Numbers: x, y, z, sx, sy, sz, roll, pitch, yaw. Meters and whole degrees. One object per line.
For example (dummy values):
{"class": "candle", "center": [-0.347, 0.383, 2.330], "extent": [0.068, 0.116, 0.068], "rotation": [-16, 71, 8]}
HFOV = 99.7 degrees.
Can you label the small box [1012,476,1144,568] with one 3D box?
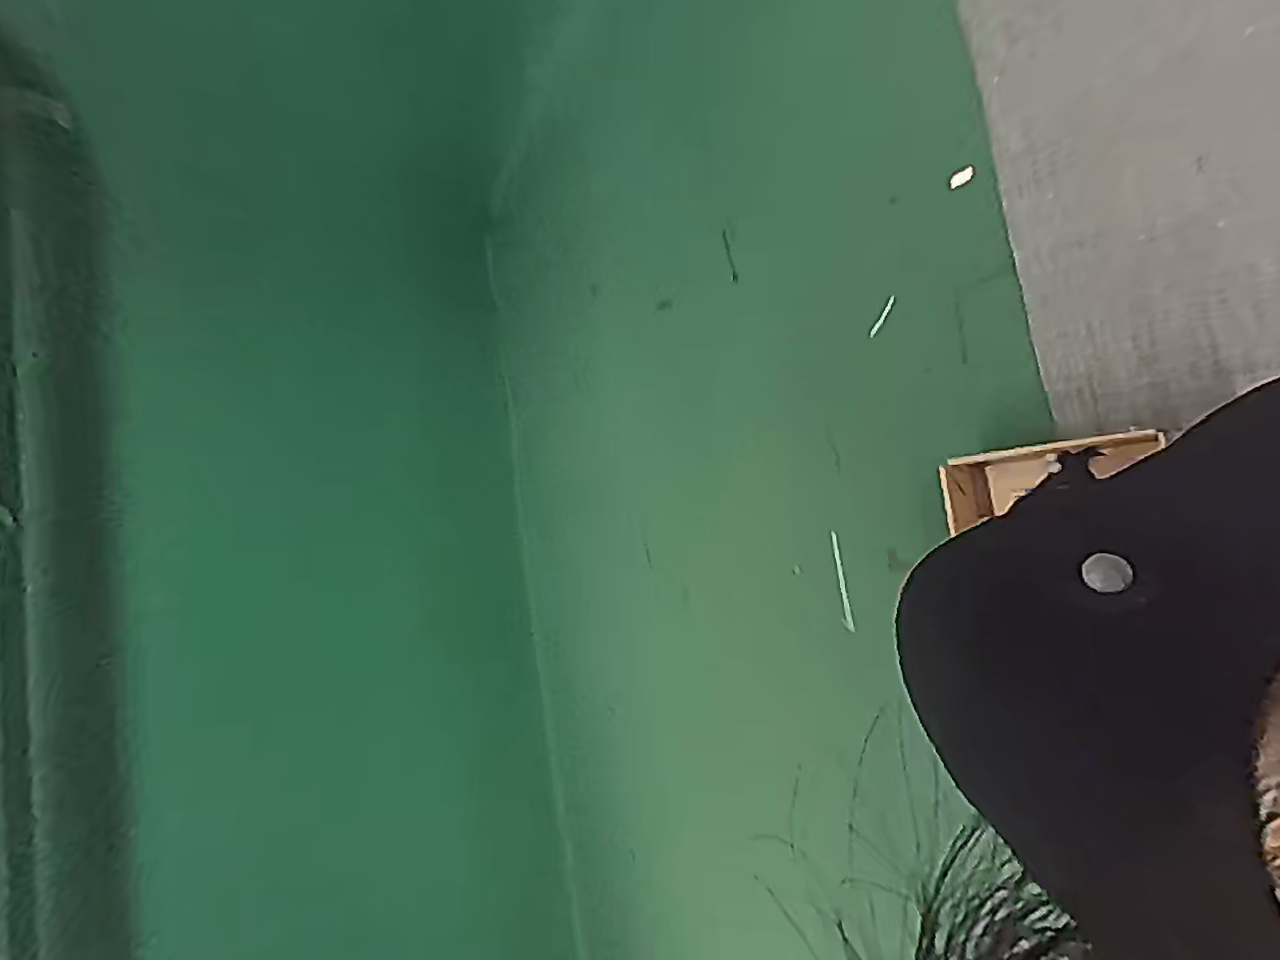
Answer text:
{"class": "small box", "center": [0.913, 0.086, 1.123], "extent": [0.179, 0.176, 0.168], "rotation": [-11, 86, 52]}
